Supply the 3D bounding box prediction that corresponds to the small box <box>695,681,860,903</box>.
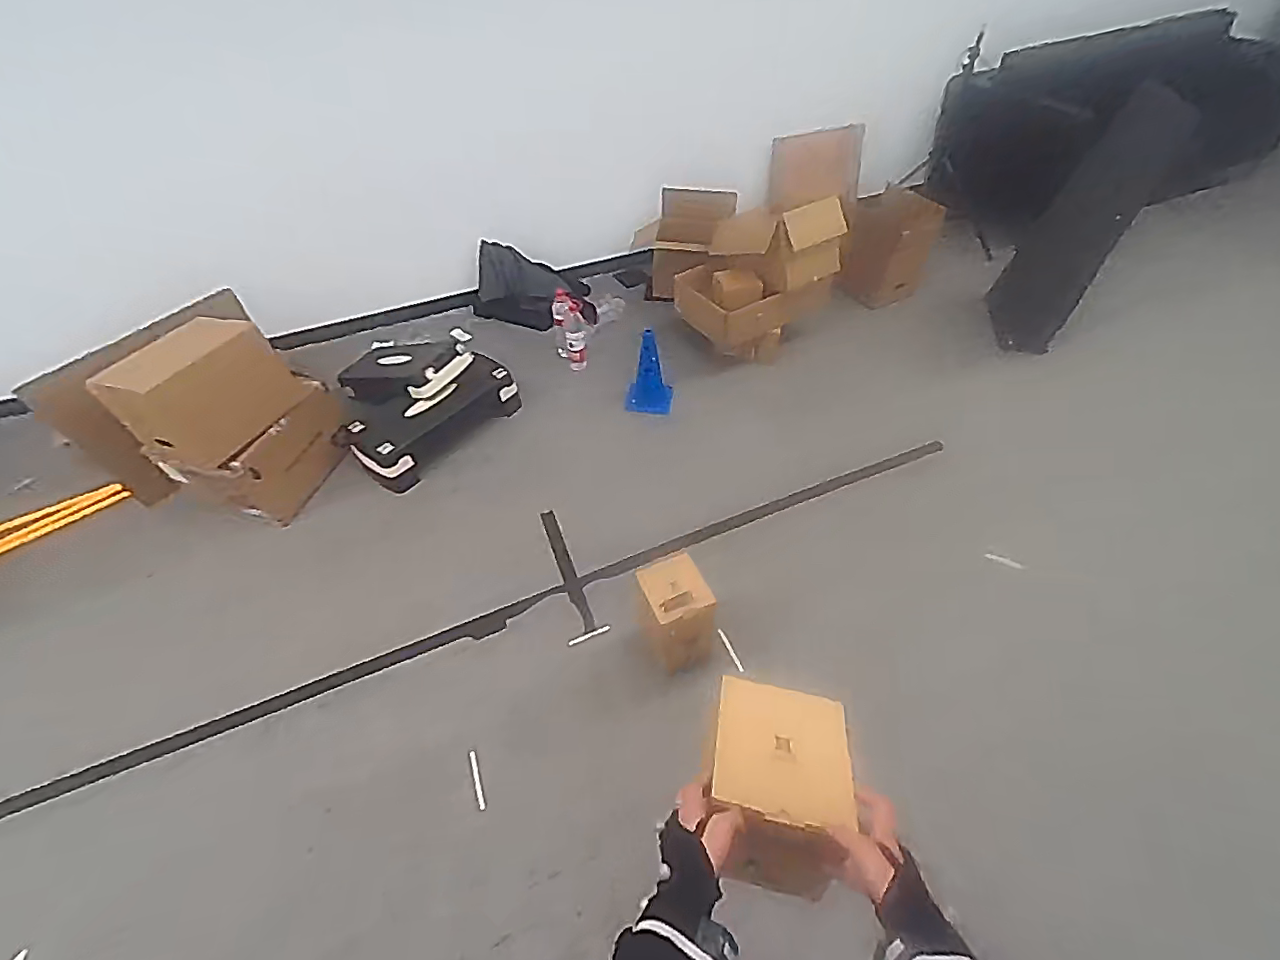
[{"bbox_3d":[0.171,0.403,0.709,0.168,0.176,0.179,11,34,7],"label":"small box"}]
